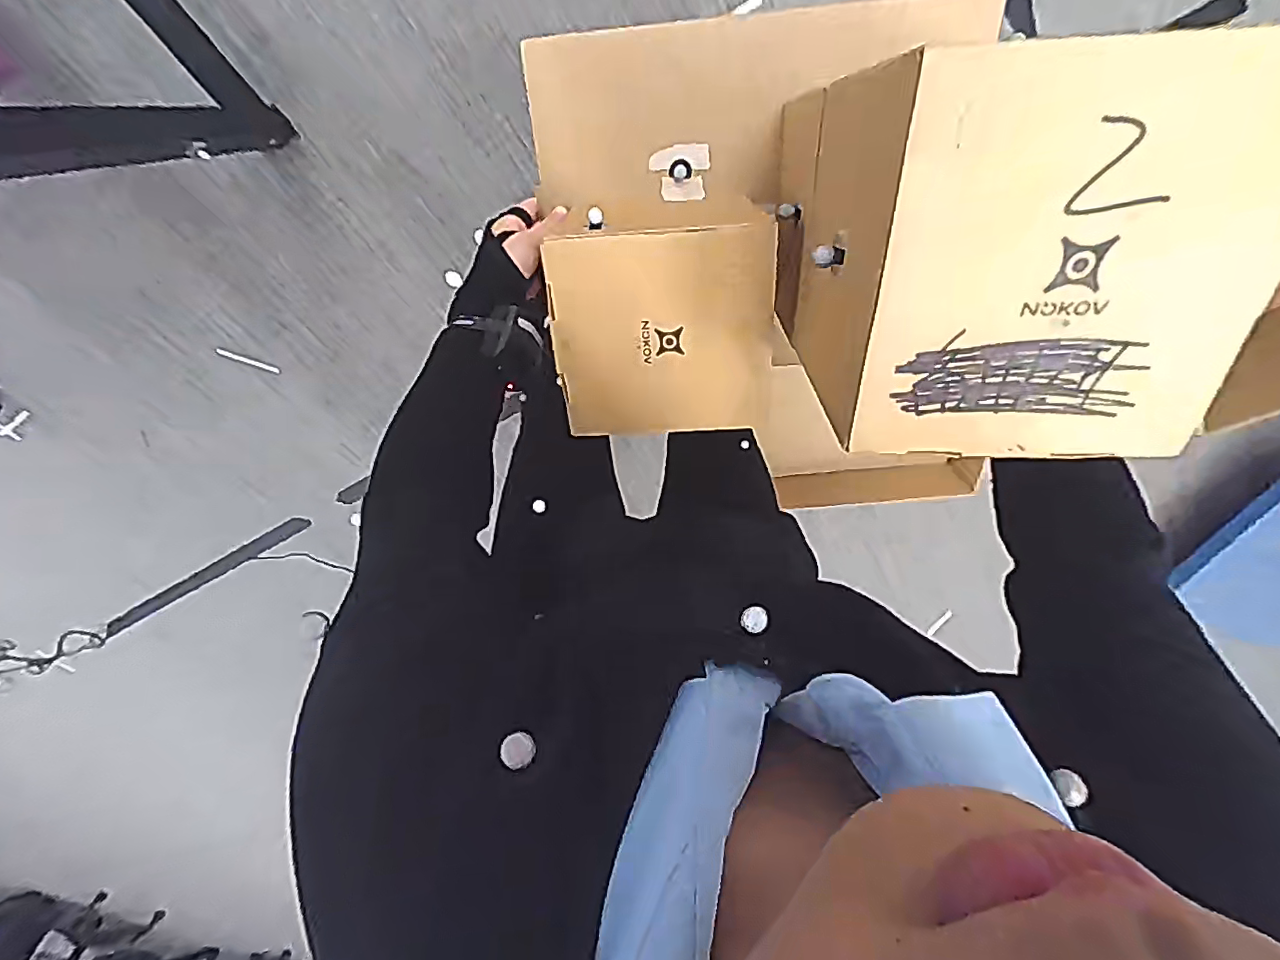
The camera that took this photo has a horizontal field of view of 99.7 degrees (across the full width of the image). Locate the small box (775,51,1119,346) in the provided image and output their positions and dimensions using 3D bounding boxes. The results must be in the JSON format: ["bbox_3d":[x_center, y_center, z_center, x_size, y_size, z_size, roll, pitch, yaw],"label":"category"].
[{"bbox_3d":[0.207,-0.217,0.431,0.168,0.176,0.179,1,122,5],"label":"small box"}]

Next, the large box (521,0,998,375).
[{"bbox_3d":[0.117,-0.339,0.652,0.408,0.320,0.320,-2,121,6],"label":"large box"}]
